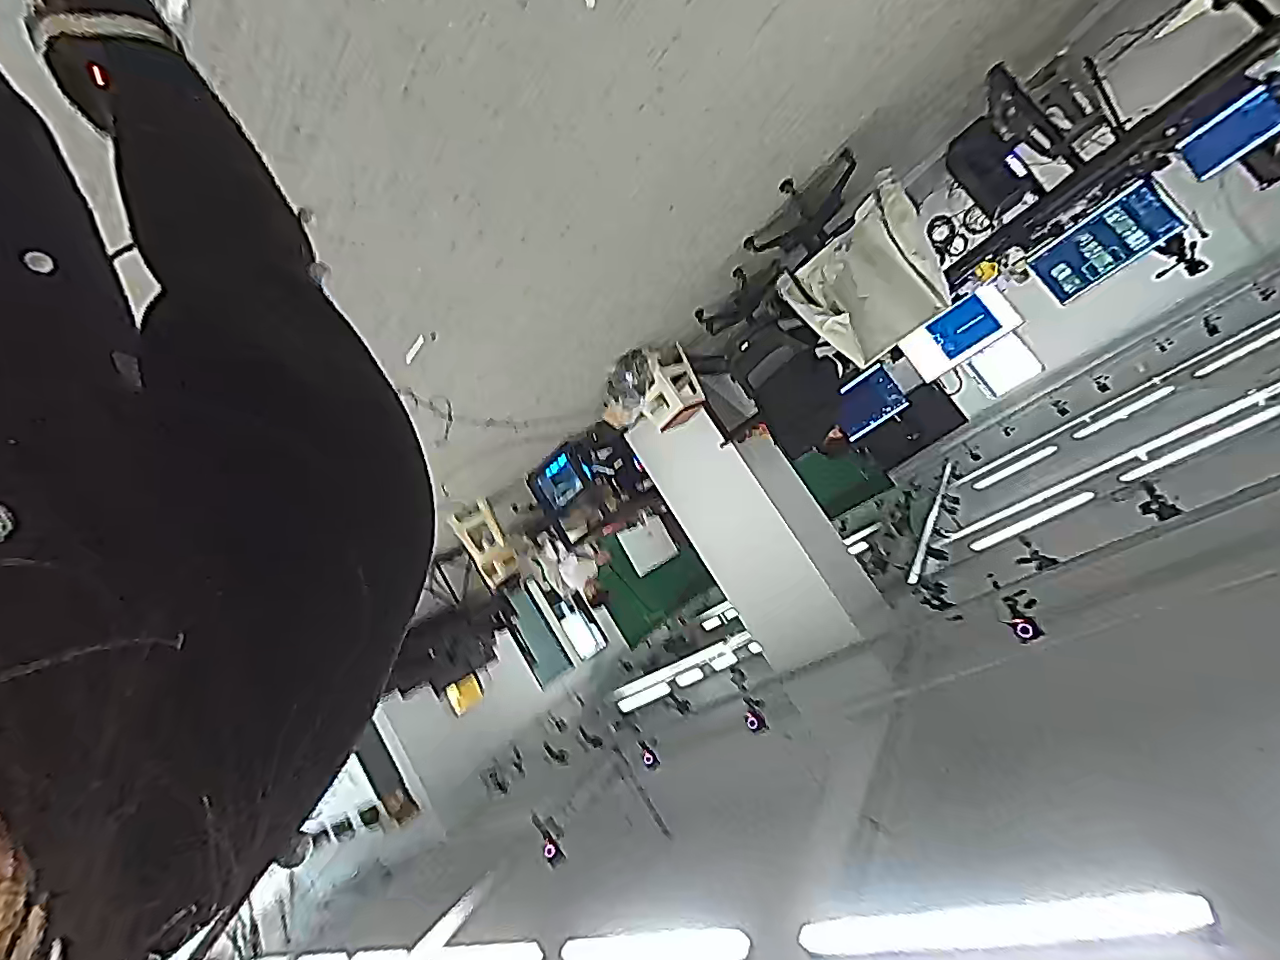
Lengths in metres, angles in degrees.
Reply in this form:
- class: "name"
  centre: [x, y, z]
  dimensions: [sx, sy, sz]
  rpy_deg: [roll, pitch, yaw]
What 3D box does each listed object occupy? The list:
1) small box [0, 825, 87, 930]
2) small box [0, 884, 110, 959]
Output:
- class: "small box"
  centre: [-1.577, 1.027, 1.390]
  dimensions: [0.179, 0.176, 0.168]
  rpy_deg: [-38, 171, 32]
- class: "small box"
  centre: [-1.488, 1.163, 1.361]
  dimensions: [0.179, 0.176, 0.168]
  rpy_deg: [-39, 170, 31]
